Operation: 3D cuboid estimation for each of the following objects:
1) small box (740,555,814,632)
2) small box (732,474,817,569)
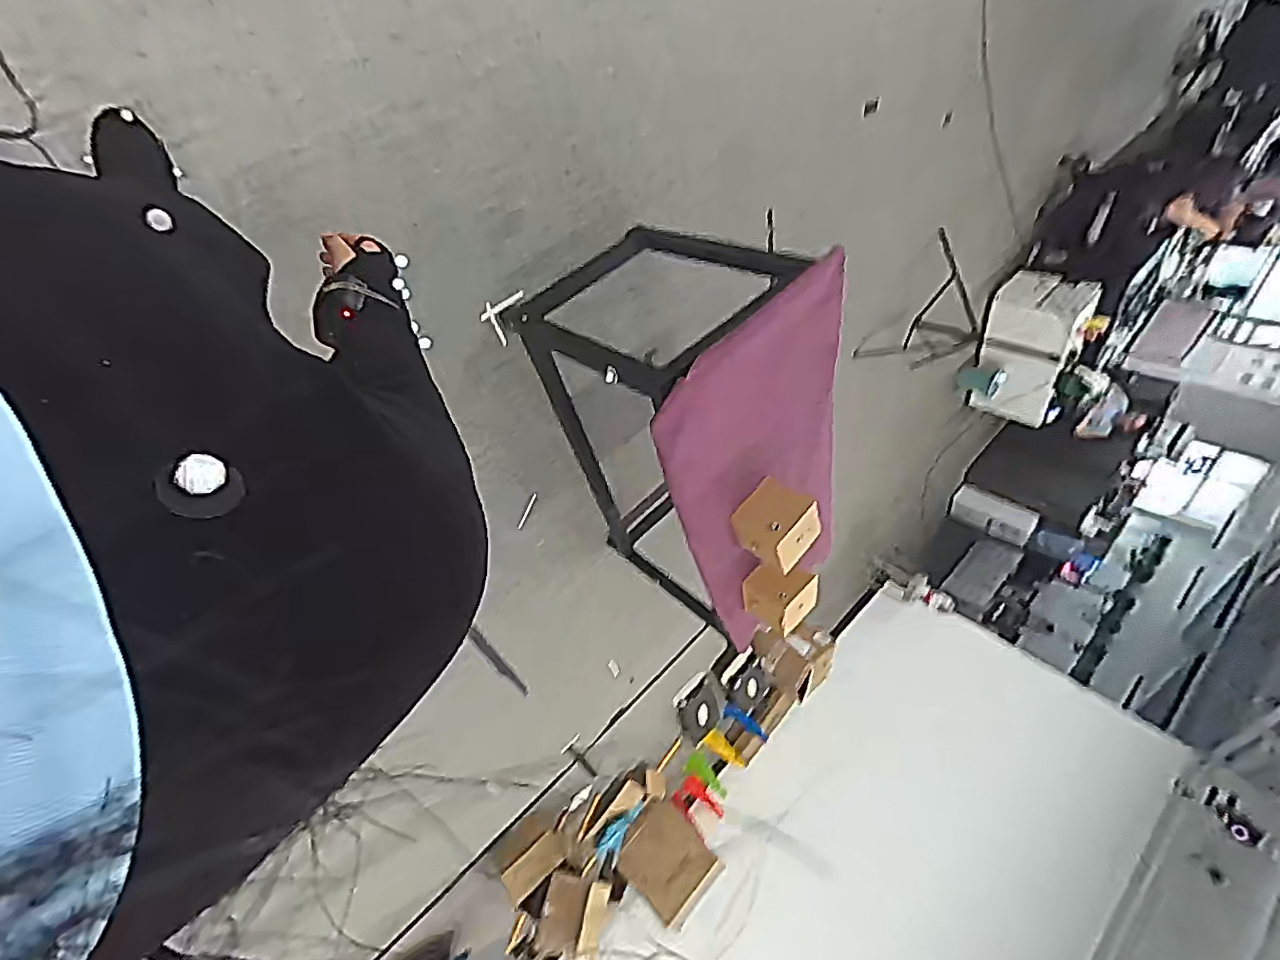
[{"bbox_3d":[0.453,0.360,1.800,0.179,0.176,0.168,-37,137,-24],"label":"small box"},{"bbox_3d":[0.384,0.117,1.565,0.179,0.176,0.168,-46,140,-14],"label":"small box"}]
